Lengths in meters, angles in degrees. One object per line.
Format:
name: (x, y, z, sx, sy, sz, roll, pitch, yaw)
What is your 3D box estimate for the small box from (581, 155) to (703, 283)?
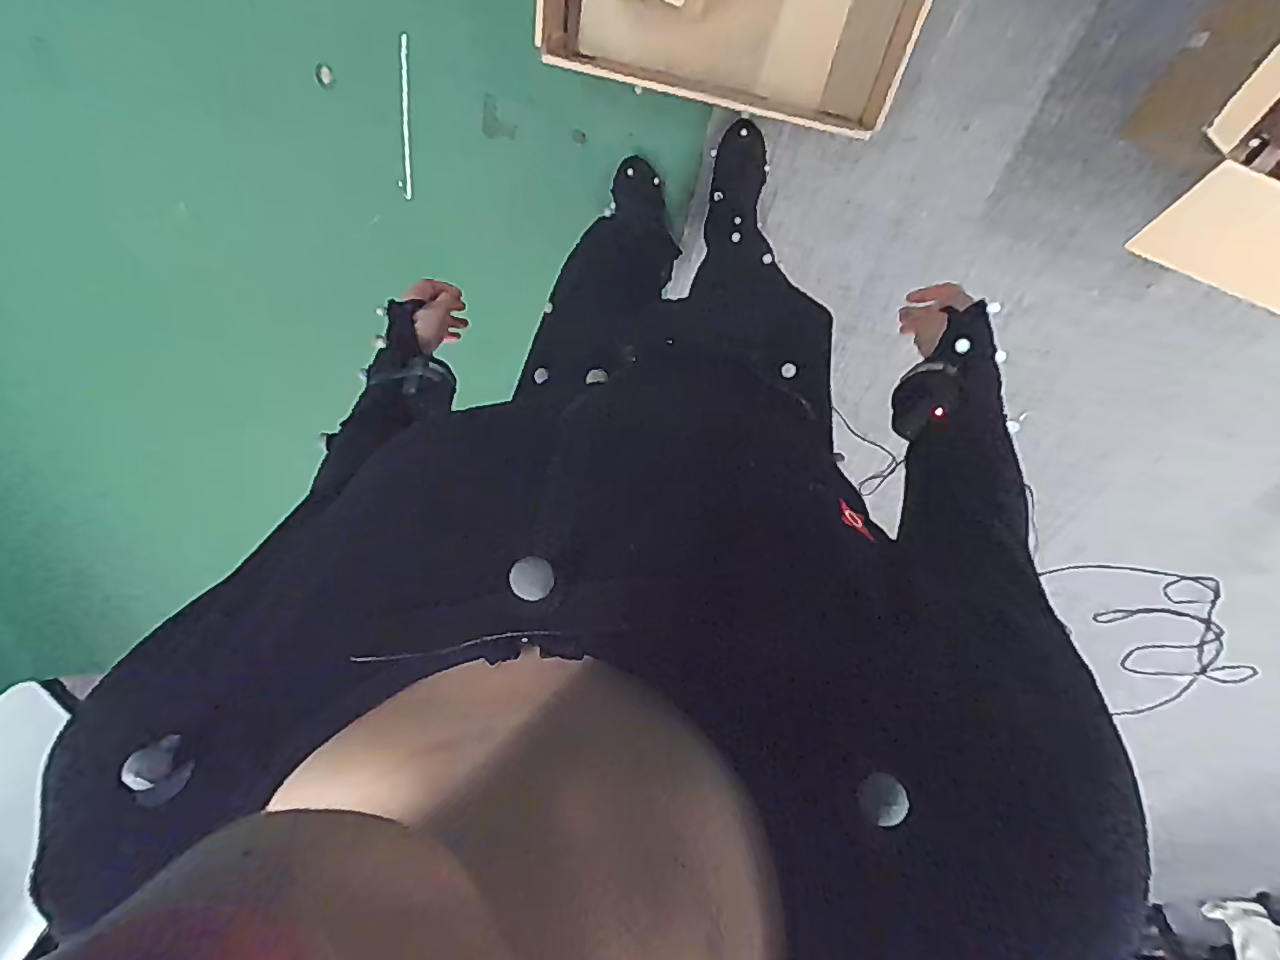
small box: (0.011, -0.553, 1.147, 0.176, 0.168, 0.179, 28, 102, -36)

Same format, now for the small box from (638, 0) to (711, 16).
small box: (0.044, -0.874, 0.867, 0.179, 0.176, 0.168, 14, 128, -2)
